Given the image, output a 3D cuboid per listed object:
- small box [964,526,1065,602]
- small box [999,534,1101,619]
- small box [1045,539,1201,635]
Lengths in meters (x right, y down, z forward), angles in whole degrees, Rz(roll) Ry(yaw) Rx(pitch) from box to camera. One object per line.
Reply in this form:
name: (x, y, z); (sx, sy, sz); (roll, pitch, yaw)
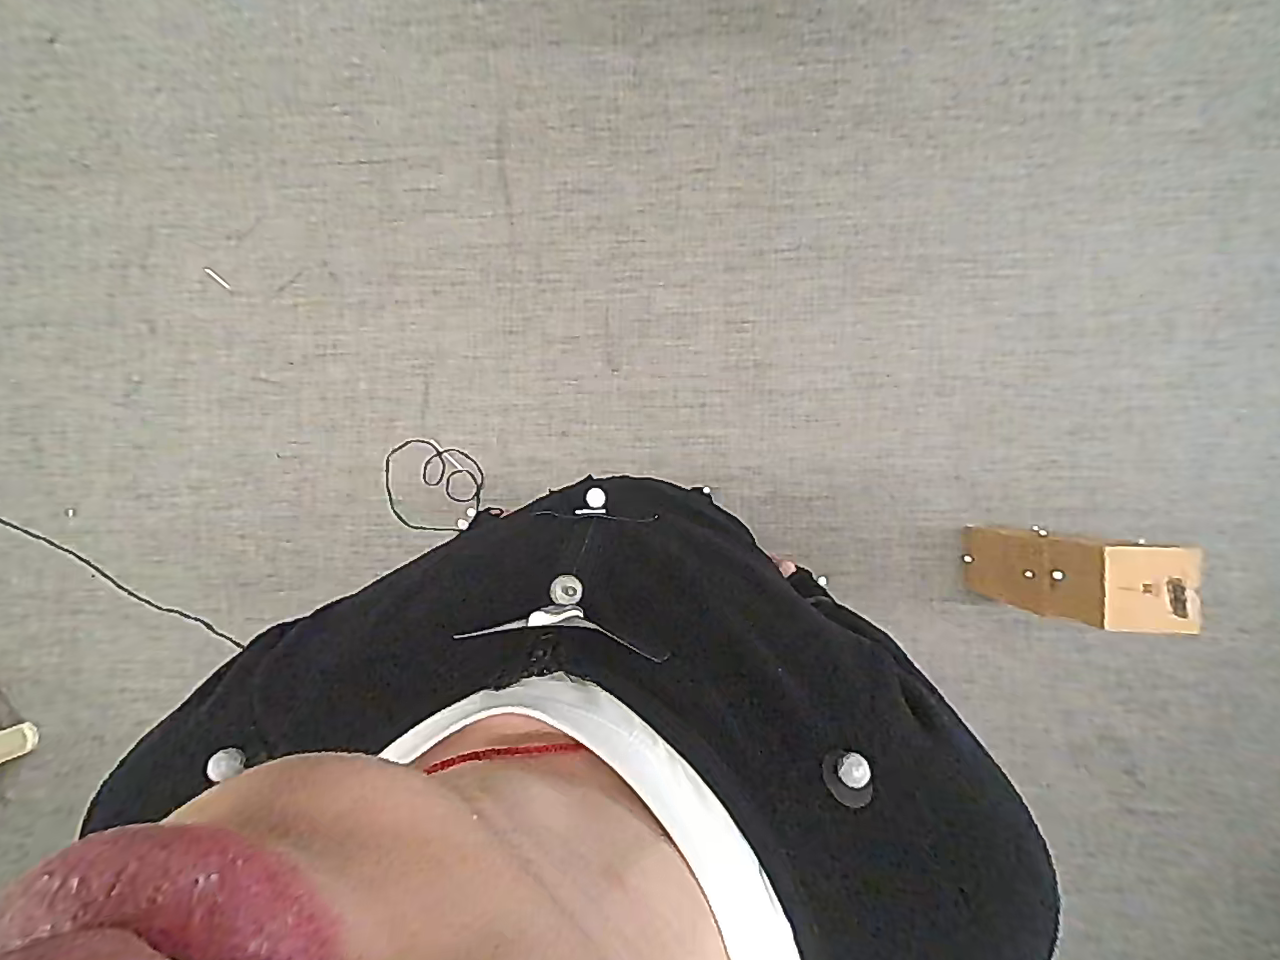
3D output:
small box: (0.989, 0.220, 1.436); (0.168, 0.176, 0.179); (1, 90, 2)
small box: (0.980, 0.221, 1.273); (0.168, 0.176, 0.179); (0, 91, 3)
small box: (0.980, 0.211, 1.109); (0.179, 0.176, 0.168); (1, 89, 4)
